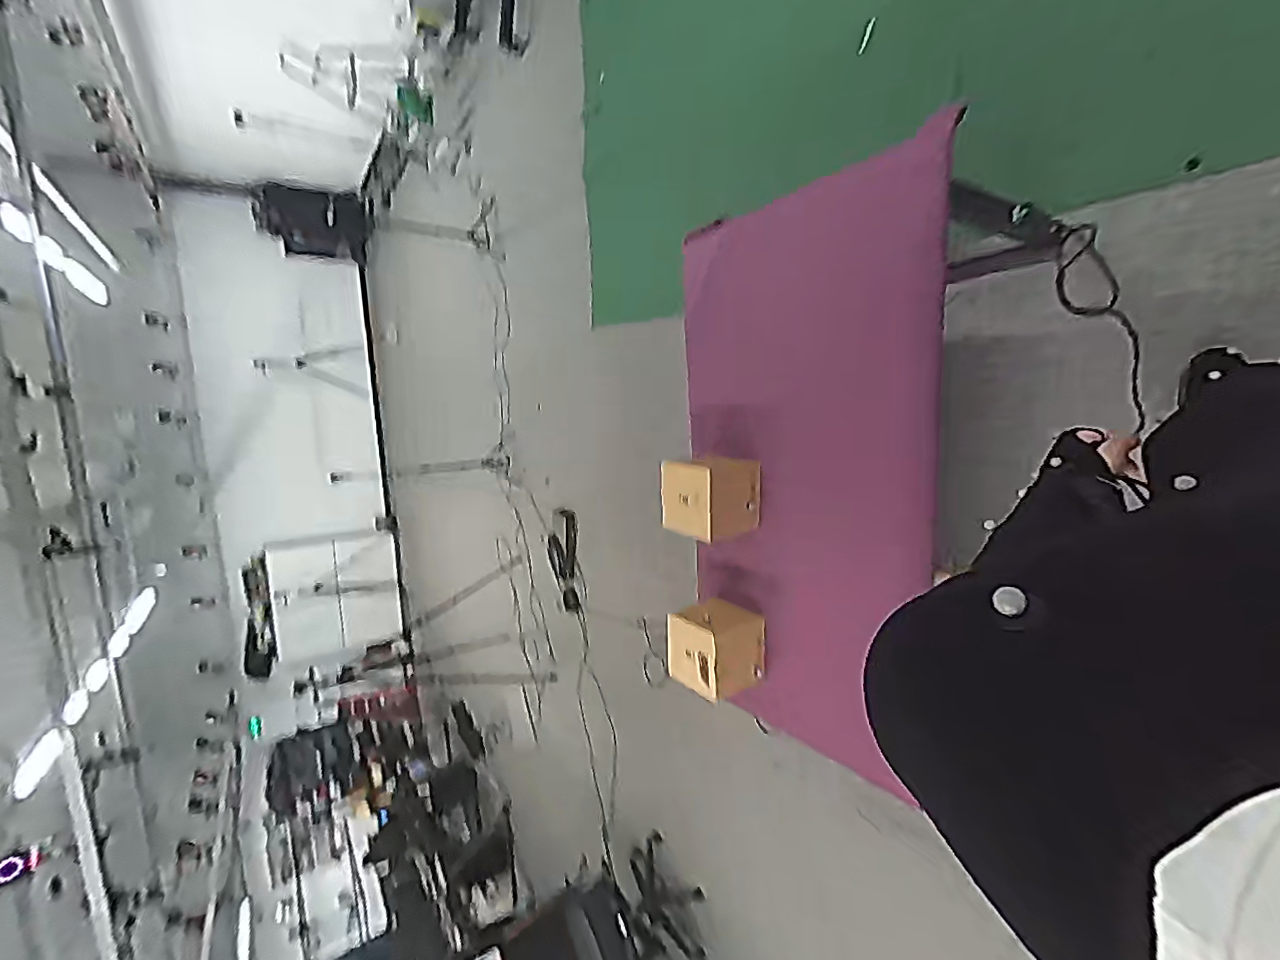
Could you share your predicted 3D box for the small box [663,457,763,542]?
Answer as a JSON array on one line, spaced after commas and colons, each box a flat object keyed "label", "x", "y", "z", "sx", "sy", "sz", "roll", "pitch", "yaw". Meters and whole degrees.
[{"label": "small box", "x": 0.174, "y": 0.038, "z": 1.308, "sx": 0.179, "sy": 0.176, "sz": 0.168, "roll": 11, "pitch": 108, "yaw": 52}]

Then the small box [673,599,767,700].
[{"label": "small box", "x": 0.203, "y": 0.413, "z": 1.351, "sx": 0.179, "sy": 0.176, "sz": 0.168, "roll": 8, "pitch": 104, "yaw": 53}]
